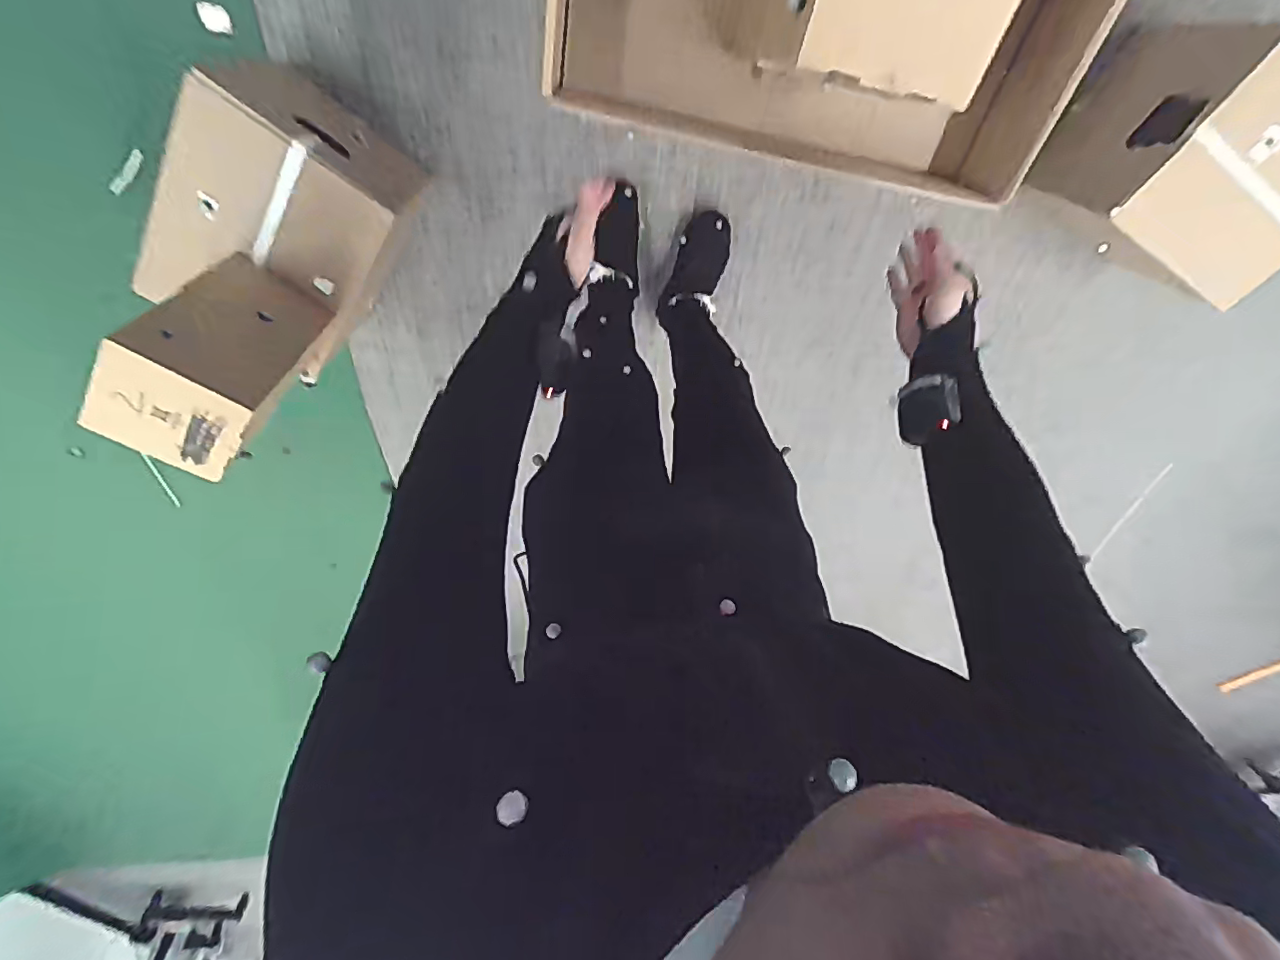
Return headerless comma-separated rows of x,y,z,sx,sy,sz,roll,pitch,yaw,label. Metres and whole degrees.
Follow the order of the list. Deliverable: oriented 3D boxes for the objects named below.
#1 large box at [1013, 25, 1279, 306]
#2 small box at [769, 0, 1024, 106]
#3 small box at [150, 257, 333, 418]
1.080,-0.618,1.078,0.408,0.320,0.320,21,124,-19,large box
0.230,-0.461,0.478,0.168,0.176,0.179,8,129,-9,small box
-0.663,-0.245,0.922,0.179,0.176,0.168,34,118,-28,small box
